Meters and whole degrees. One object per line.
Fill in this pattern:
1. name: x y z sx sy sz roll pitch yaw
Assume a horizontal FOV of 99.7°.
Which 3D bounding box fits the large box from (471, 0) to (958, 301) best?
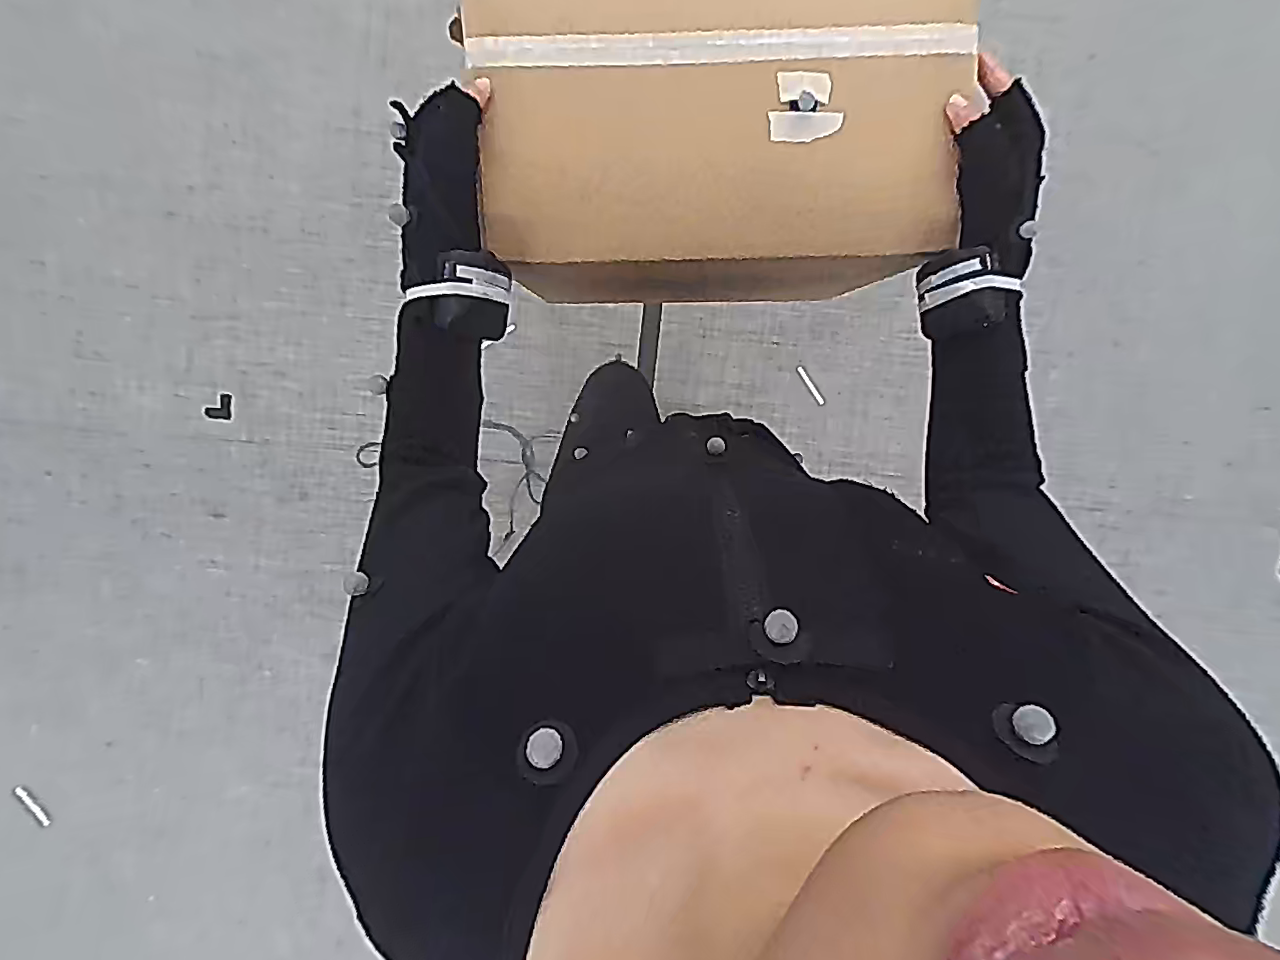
1. large box: 0.059 -0.383 0.592 0.408 0.320 0.320 -2 102 0
